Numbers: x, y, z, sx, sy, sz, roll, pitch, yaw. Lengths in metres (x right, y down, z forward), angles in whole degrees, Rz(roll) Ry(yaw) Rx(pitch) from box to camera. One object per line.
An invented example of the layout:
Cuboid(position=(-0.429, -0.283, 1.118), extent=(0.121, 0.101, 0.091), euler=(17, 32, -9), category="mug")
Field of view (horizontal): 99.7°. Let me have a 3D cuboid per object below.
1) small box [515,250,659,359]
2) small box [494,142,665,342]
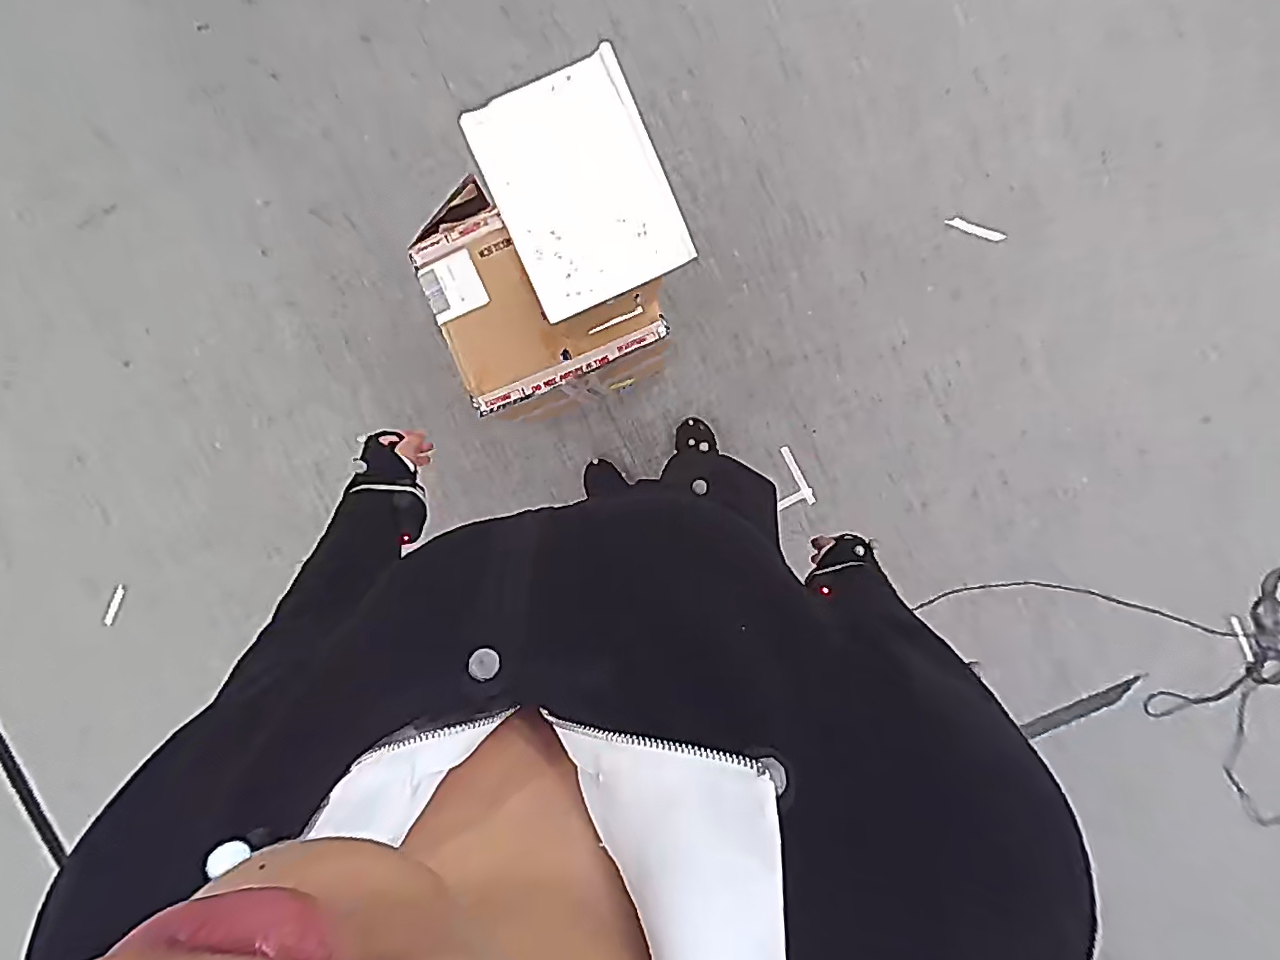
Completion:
Cuboid(position=(-0.085, -0.324, 0.915), extent=(0.179, 0.176, 0.168), euler=(-27, 94, 1), category="small box")
Cuboid(position=(-0.078, -0.314, 0.751), extent=(0.168, 0.176, 0.179), euler=(-24, 95, 0), category="small box")
